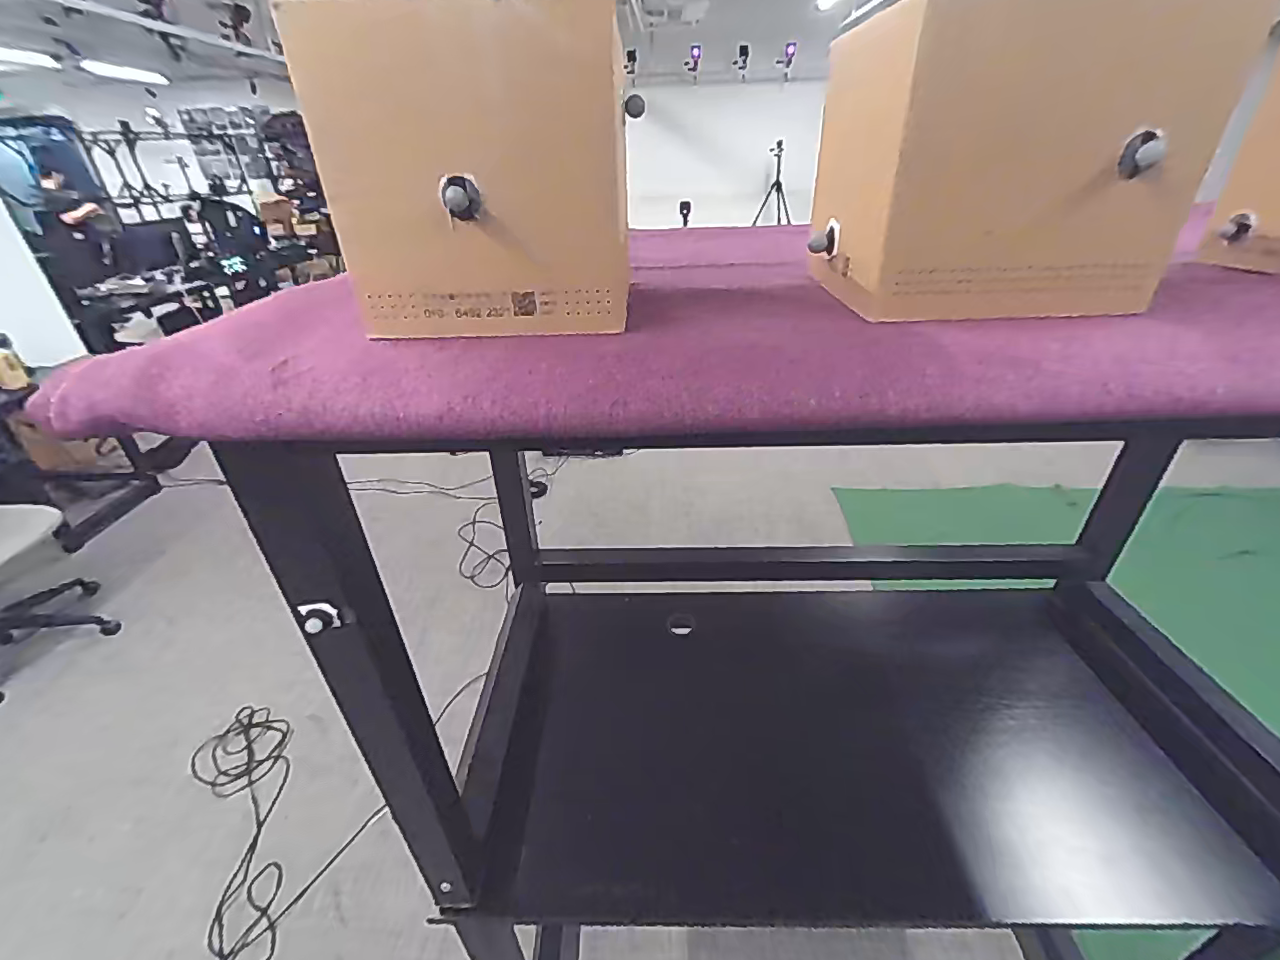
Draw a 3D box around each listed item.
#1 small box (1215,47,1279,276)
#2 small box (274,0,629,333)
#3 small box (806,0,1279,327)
[{"bbox_3d":[0.577,-0.230,0.378,0.179,0.176,0.168,0,29,3],"label":"small box"},{"bbox_3d":[-0.093,-0.205,0.370,0.168,0.176,0.179,0,32,0],"label":"small box"},{"bbox_3d":[0.228,-0.210,0.370,0.179,0.176,0.168,-2,31,1],"label":"small box"}]
